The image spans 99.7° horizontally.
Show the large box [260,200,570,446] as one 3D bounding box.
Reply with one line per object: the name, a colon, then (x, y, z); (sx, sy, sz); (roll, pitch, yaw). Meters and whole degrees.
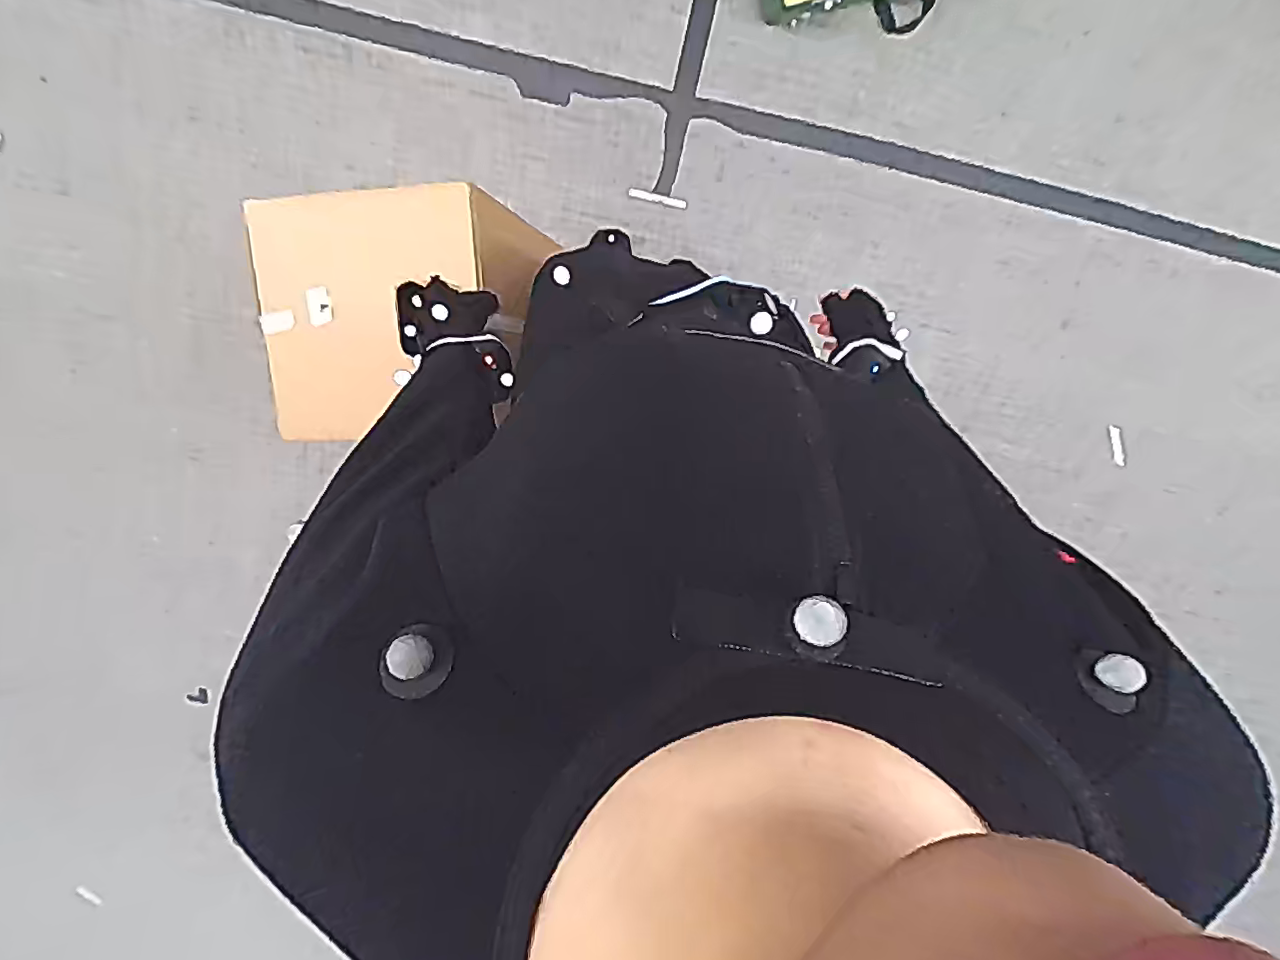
large box: (-0.320, -0.242, 0.896); (0.320, 0.408, 0.320); (3, 102, 7)
